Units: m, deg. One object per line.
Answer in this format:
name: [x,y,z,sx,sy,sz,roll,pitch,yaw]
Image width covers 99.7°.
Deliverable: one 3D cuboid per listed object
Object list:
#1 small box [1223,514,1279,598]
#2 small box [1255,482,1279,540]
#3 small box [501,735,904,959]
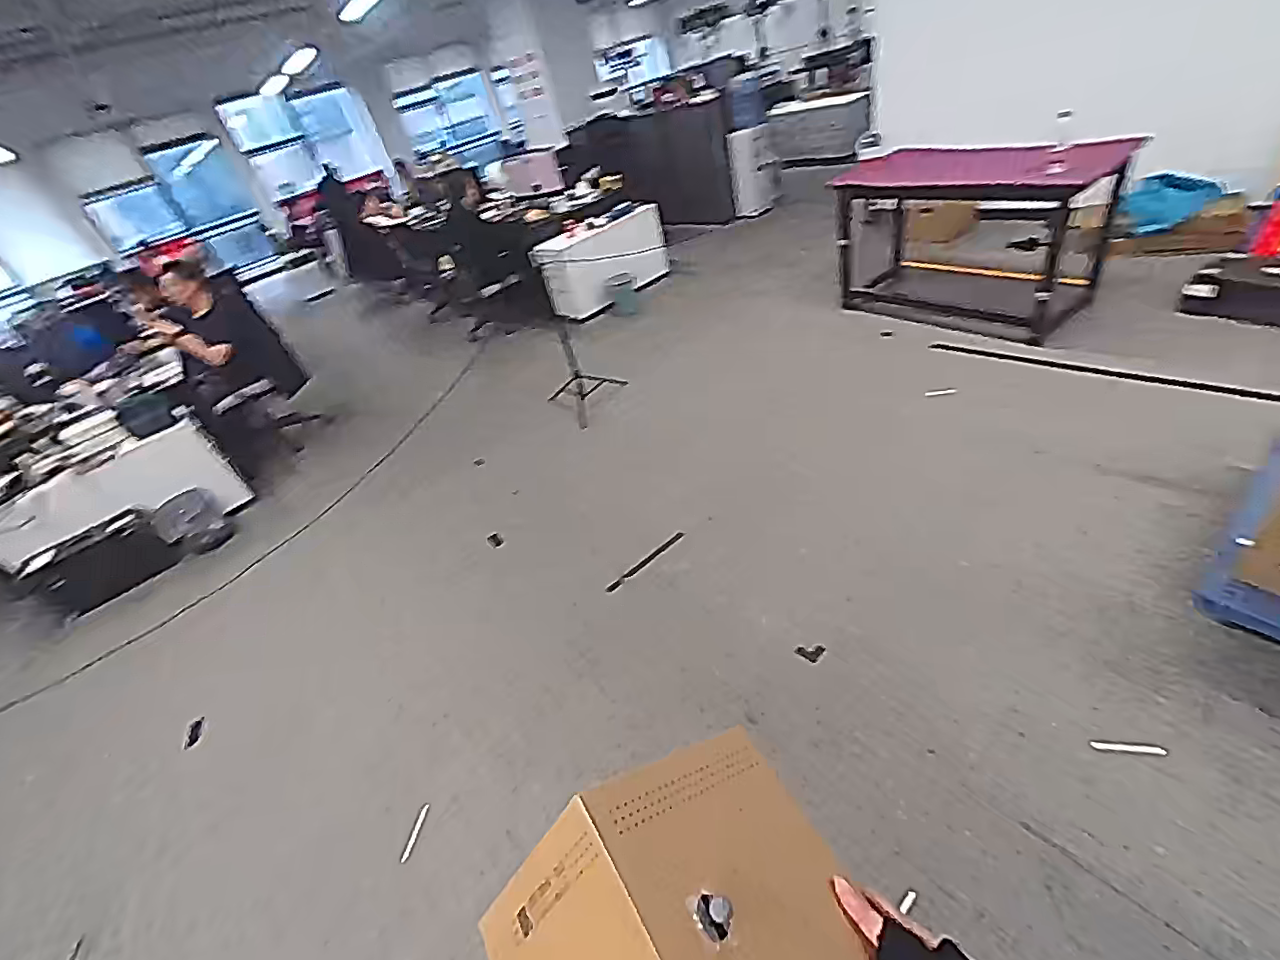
small box: [1.565,0.174,1.287,0.168,0.176,0.179,-33,39,-21]
small box: [1.526,0.045,1.192,0.179,0.176,0.168,-34,40,-24]
small box: [0.032,0.310,0.369,0.179,0.168,0.176,7,34,-45]
